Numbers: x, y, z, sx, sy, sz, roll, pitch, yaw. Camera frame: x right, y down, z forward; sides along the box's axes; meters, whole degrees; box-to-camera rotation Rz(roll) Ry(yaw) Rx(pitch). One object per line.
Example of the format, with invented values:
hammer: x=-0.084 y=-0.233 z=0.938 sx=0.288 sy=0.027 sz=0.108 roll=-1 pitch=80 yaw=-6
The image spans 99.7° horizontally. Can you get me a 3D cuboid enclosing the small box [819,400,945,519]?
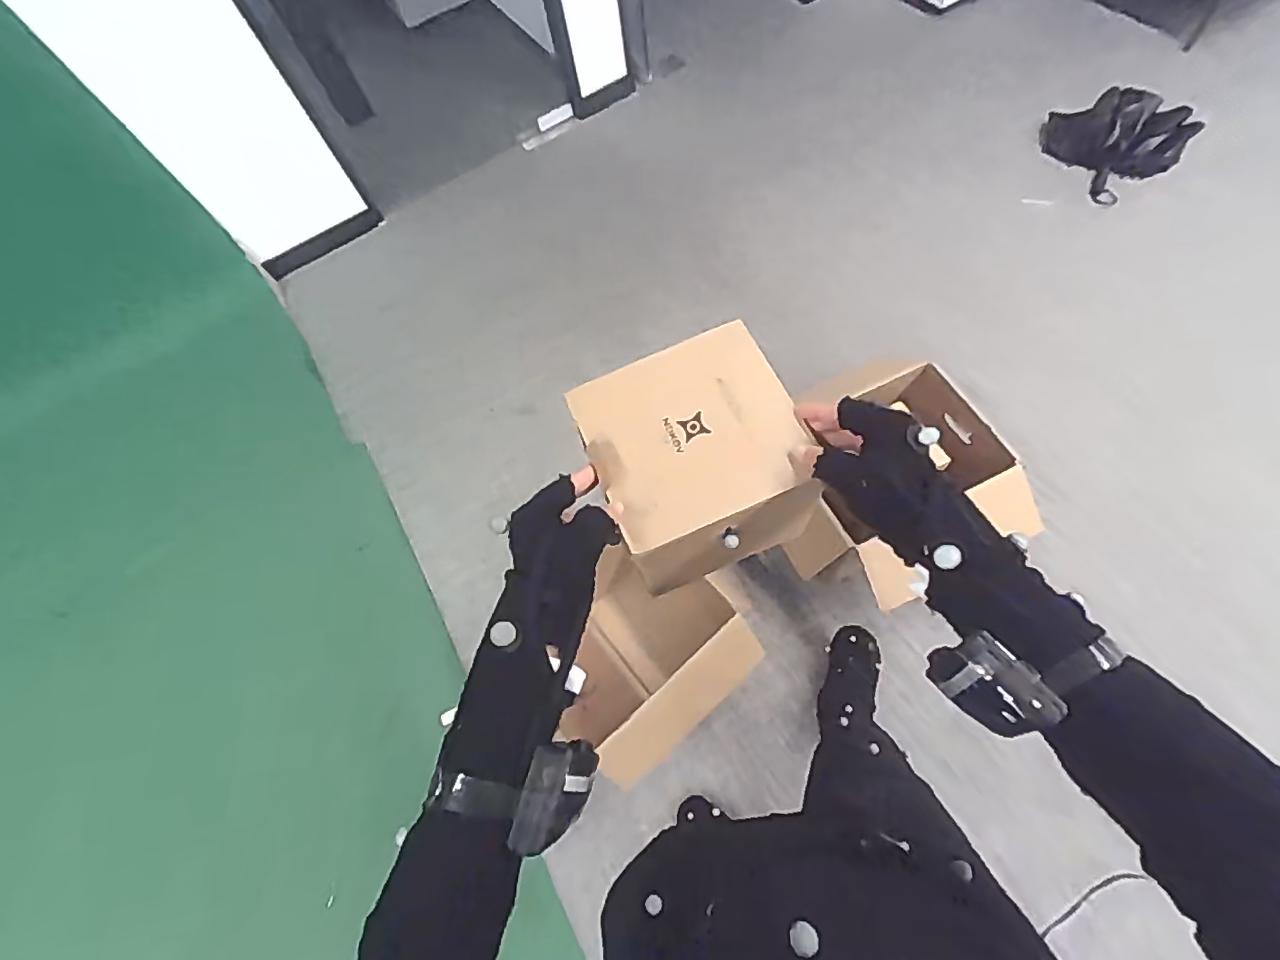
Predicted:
small box: x=0.525 y=-0.041 z=1.204 sx=0.179 sy=0.176 sz=0.168 roll=-27 pitch=64 yaw=-3
